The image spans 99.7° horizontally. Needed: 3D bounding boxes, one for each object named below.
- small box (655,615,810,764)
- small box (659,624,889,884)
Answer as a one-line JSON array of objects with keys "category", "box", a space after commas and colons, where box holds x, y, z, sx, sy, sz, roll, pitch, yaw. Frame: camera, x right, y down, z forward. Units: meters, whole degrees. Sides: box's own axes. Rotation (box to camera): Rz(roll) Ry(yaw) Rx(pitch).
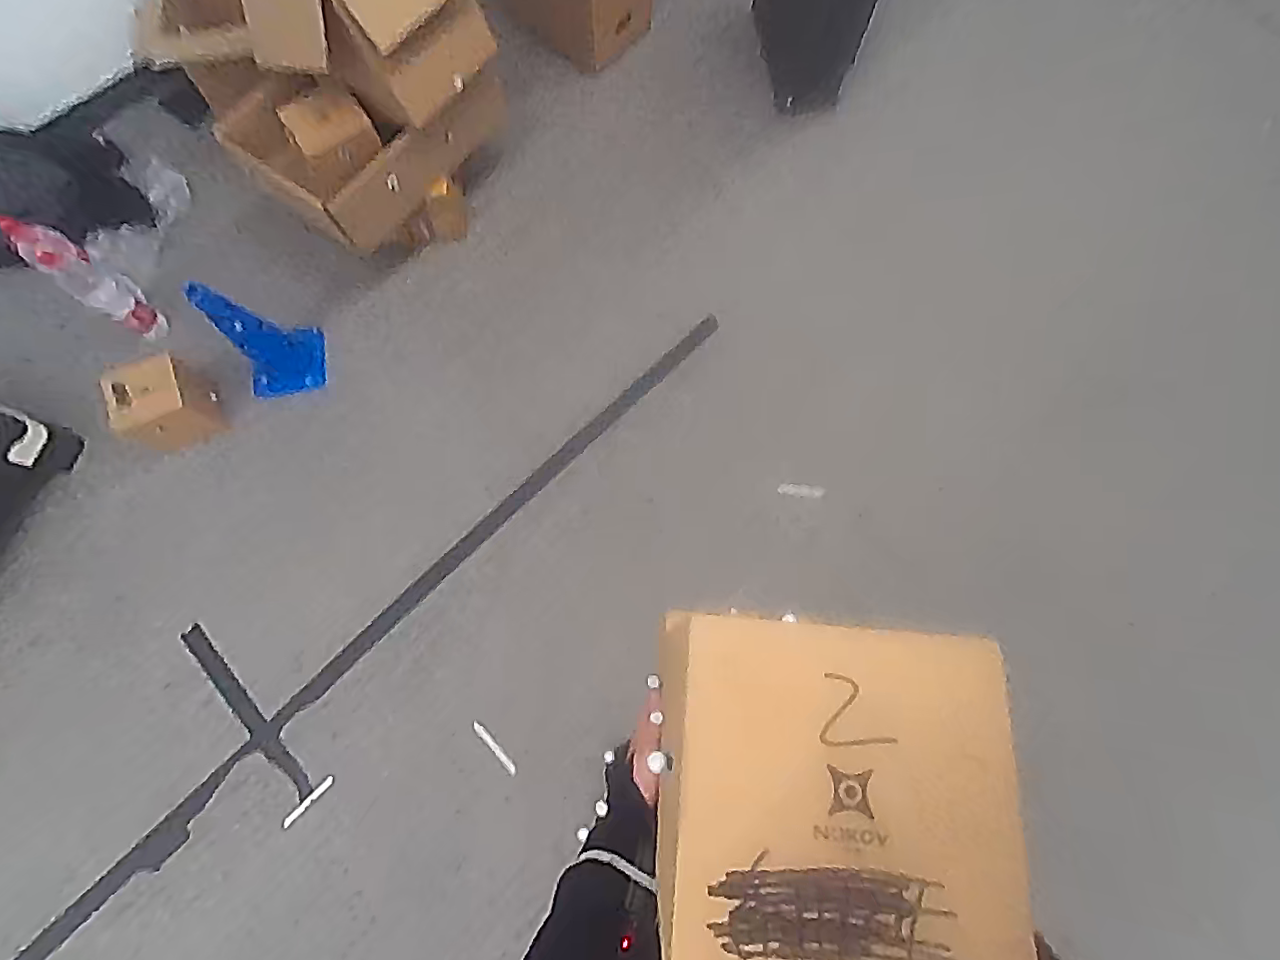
[{"category": "small box", "box": [0.106, 0.261, 0.660, 0.168, 0.176, 0.179, 2, 72, 0]}, {"category": "small box", "box": [0.105, 0.232, 0.496, 0.168, 0.176, 0.179, 3, 72, 1]}]
